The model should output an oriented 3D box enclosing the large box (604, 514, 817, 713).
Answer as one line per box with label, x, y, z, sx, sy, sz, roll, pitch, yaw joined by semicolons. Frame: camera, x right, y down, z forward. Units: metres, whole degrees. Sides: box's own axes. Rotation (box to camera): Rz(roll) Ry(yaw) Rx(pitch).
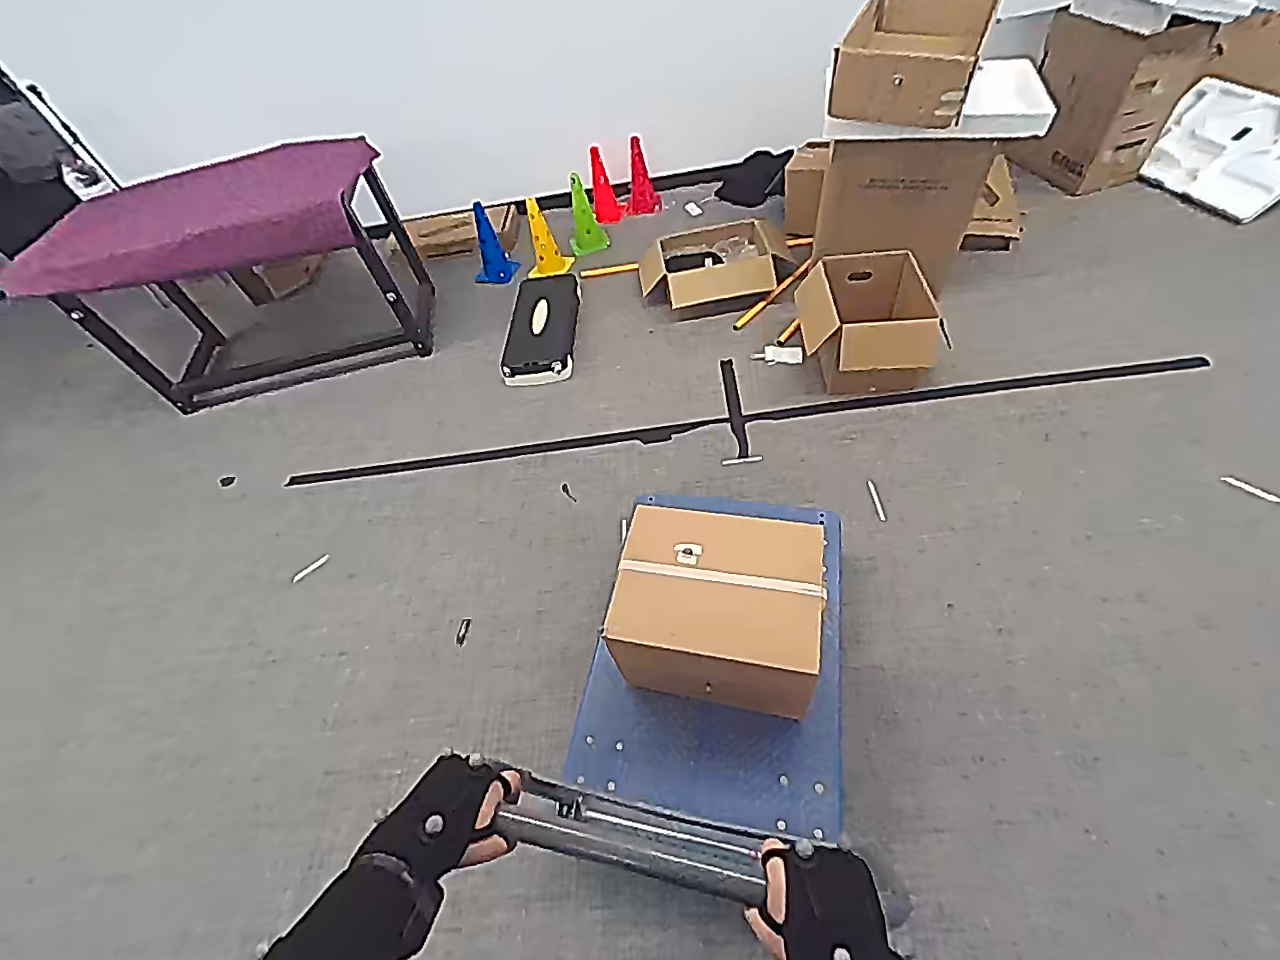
large box;0.176;0.300;1.215;0.408;0.320;0.320;5;53;15
